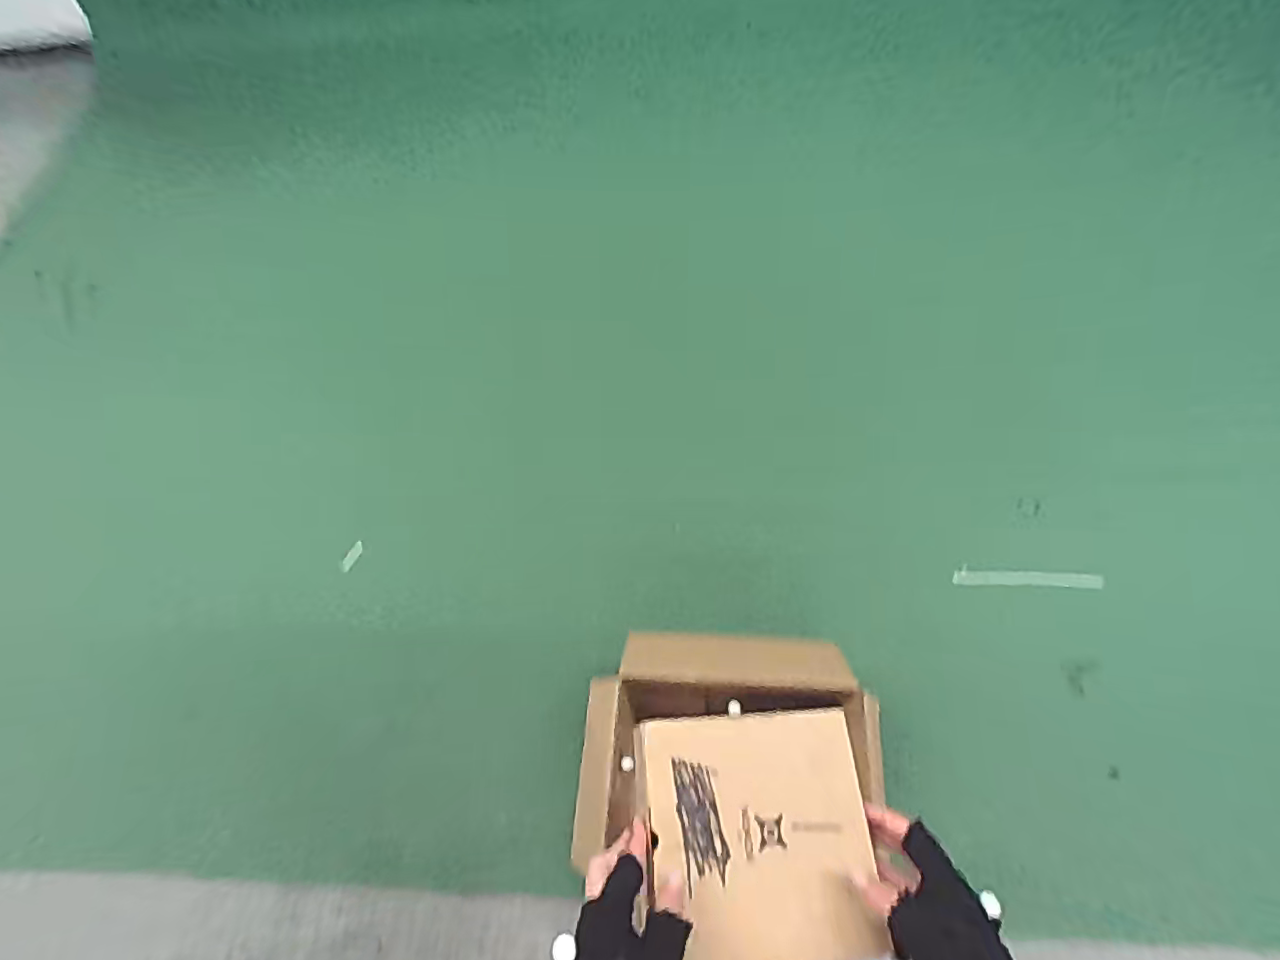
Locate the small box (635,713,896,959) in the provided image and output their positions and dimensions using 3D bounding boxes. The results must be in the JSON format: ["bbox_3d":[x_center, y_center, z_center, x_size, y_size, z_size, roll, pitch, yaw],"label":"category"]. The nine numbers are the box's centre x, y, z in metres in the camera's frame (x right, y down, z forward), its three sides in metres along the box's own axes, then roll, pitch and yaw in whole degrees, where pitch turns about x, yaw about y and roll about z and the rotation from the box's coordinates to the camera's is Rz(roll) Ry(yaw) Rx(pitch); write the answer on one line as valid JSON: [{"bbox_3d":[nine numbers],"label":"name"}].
[{"bbox_3d":[0.085,0.303,0.476,0.179,0.176,0.168,-1,63,-4],"label":"small box"}]
